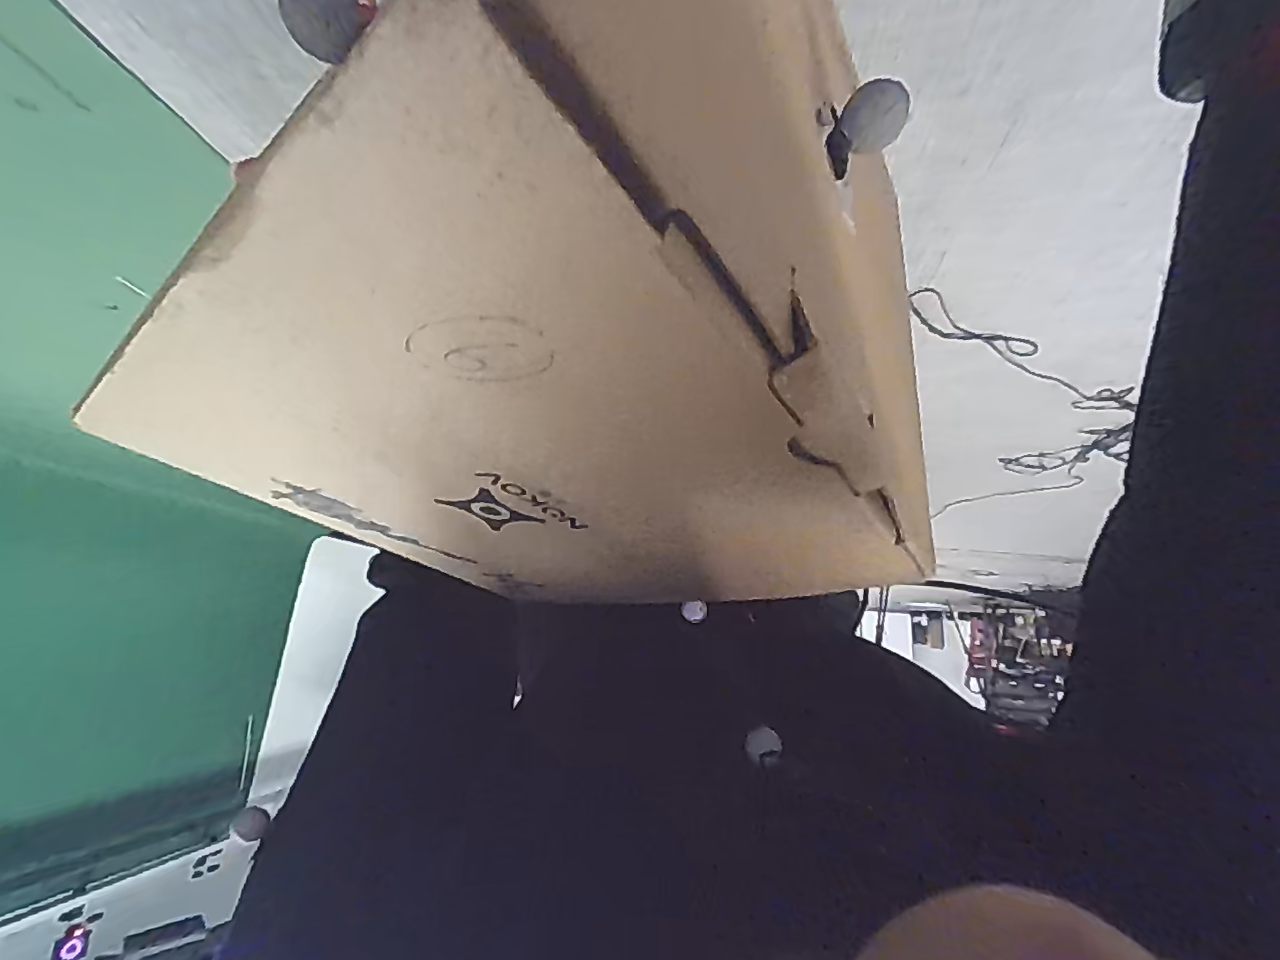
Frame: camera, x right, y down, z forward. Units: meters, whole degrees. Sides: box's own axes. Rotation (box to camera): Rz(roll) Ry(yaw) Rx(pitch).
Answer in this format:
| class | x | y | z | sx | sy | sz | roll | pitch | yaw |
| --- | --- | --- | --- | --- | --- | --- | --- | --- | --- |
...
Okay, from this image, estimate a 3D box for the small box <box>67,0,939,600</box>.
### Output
| class | x | y | z | sx | sy | sz | roll | pitch | yaw |
| --- | --- | --- | --- | --- | --- | --- | --- | --- | --- |
| small box | -0.021 | -0.068 | 0.181 | 0.179 | 0.176 | 0.168 | -12 | 147 | 35 |
